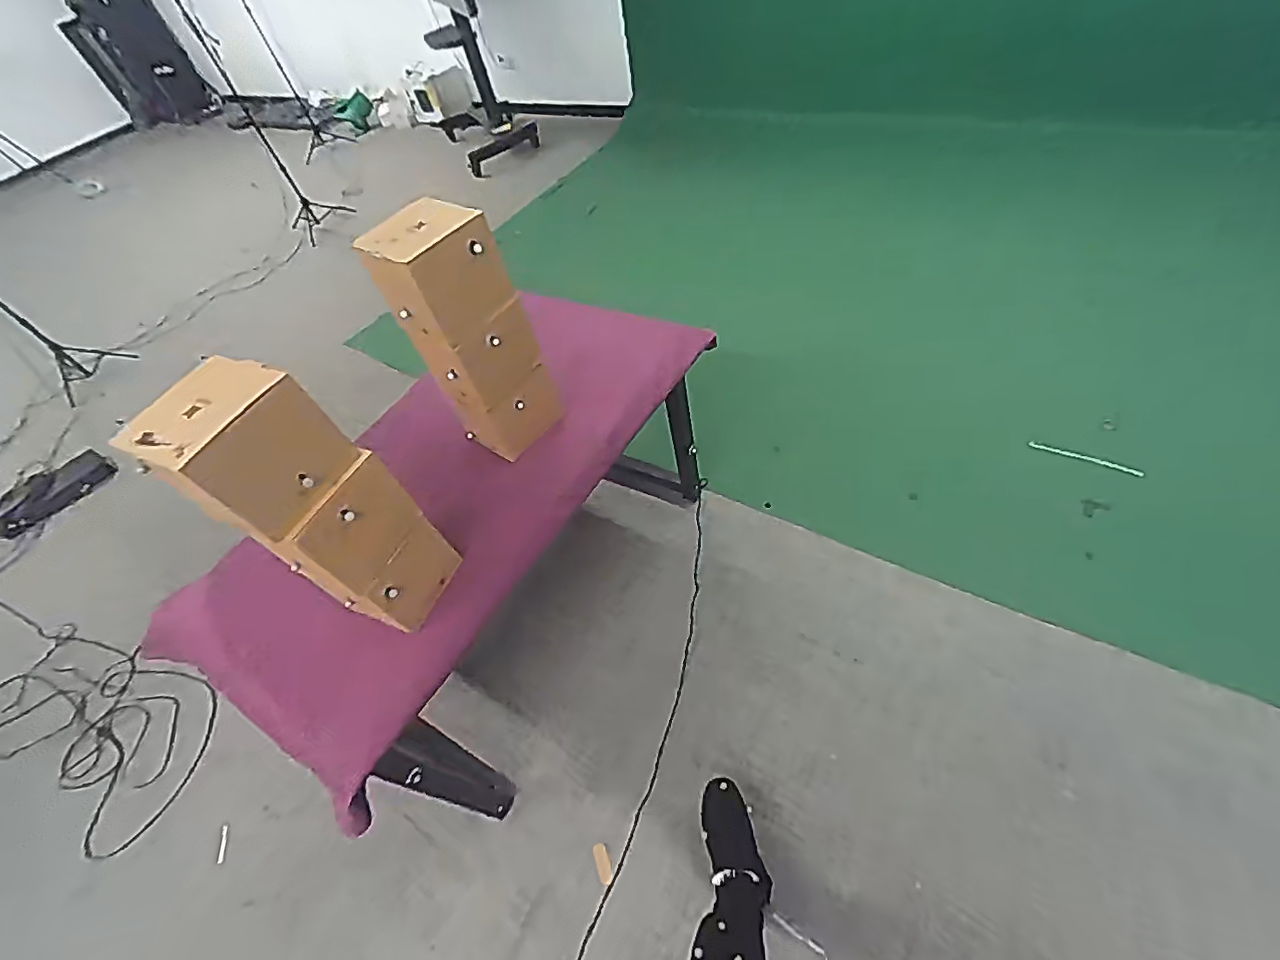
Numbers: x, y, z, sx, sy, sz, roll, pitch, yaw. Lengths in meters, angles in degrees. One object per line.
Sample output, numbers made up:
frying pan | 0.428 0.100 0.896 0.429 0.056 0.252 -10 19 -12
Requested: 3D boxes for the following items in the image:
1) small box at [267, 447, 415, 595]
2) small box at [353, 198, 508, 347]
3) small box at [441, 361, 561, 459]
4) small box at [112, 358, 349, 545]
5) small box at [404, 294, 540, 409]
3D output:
small box | -0.500 0.057 0.880 0.168 0.176 0.179 14 58 23
small box | -0.362 -0.374 0.976 0.168 0.176 0.179 27 63 28
small box | -0.307 -0.177 1.232 0.168 0.176 0.179 29 62 29
small box | -0.547 -0.040 0.755 0.168 0.176 0.179 15 57 24
small box | -0.332 -0.274 1.103 0.168 0.176 0.179 28 63 28
